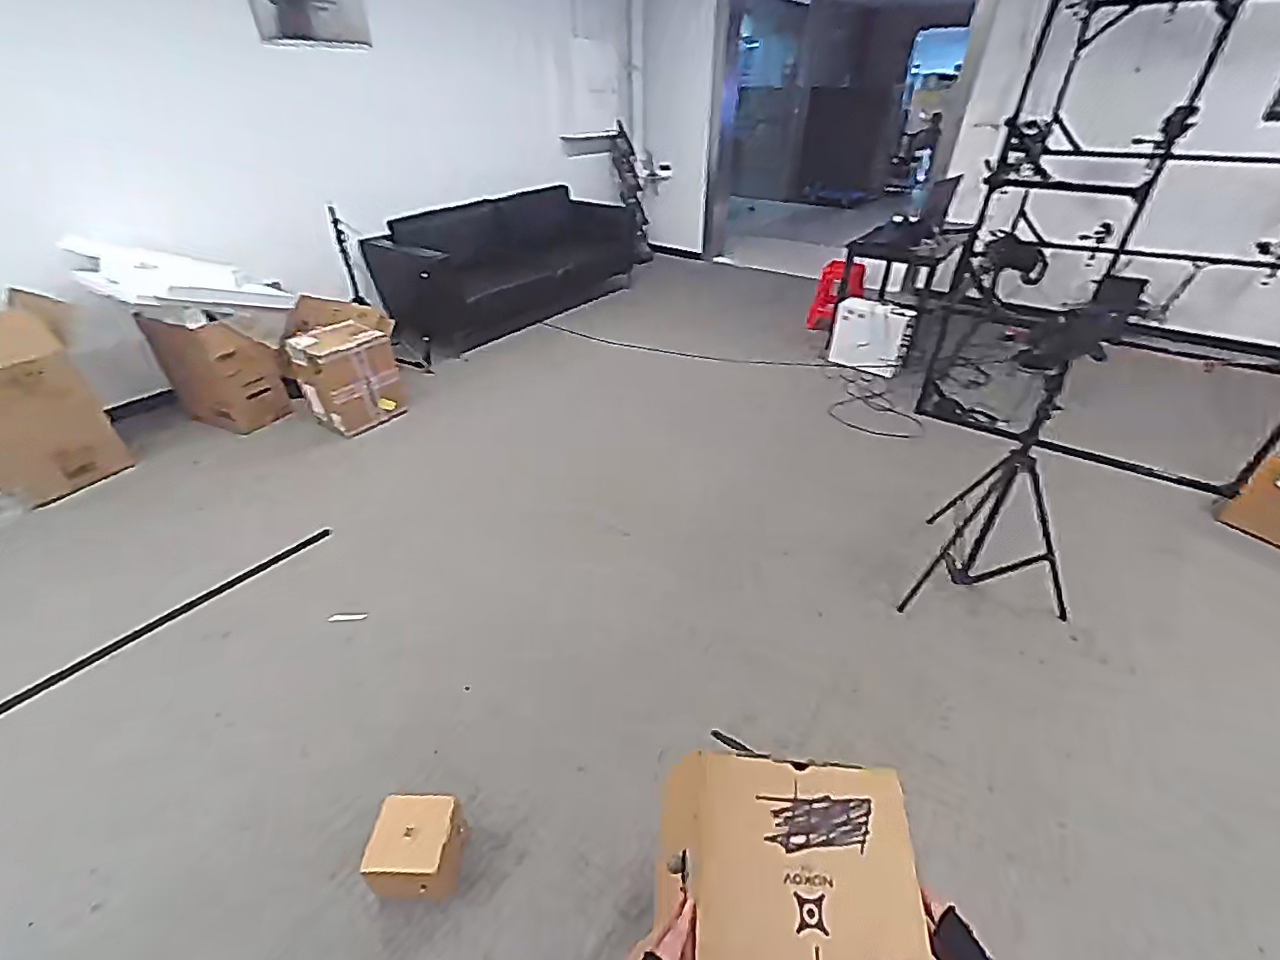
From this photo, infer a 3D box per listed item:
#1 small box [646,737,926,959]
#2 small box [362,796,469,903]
[{"bbox_3d":[0.100,0.326,0.437,0.168,0.176,0.179,8,55,-4],"label":"small box"},{"bbox_3d":[-0.526,0.886,1.298,0.179,0.176,0.168,-1,34,1],"label":"small box"}]
